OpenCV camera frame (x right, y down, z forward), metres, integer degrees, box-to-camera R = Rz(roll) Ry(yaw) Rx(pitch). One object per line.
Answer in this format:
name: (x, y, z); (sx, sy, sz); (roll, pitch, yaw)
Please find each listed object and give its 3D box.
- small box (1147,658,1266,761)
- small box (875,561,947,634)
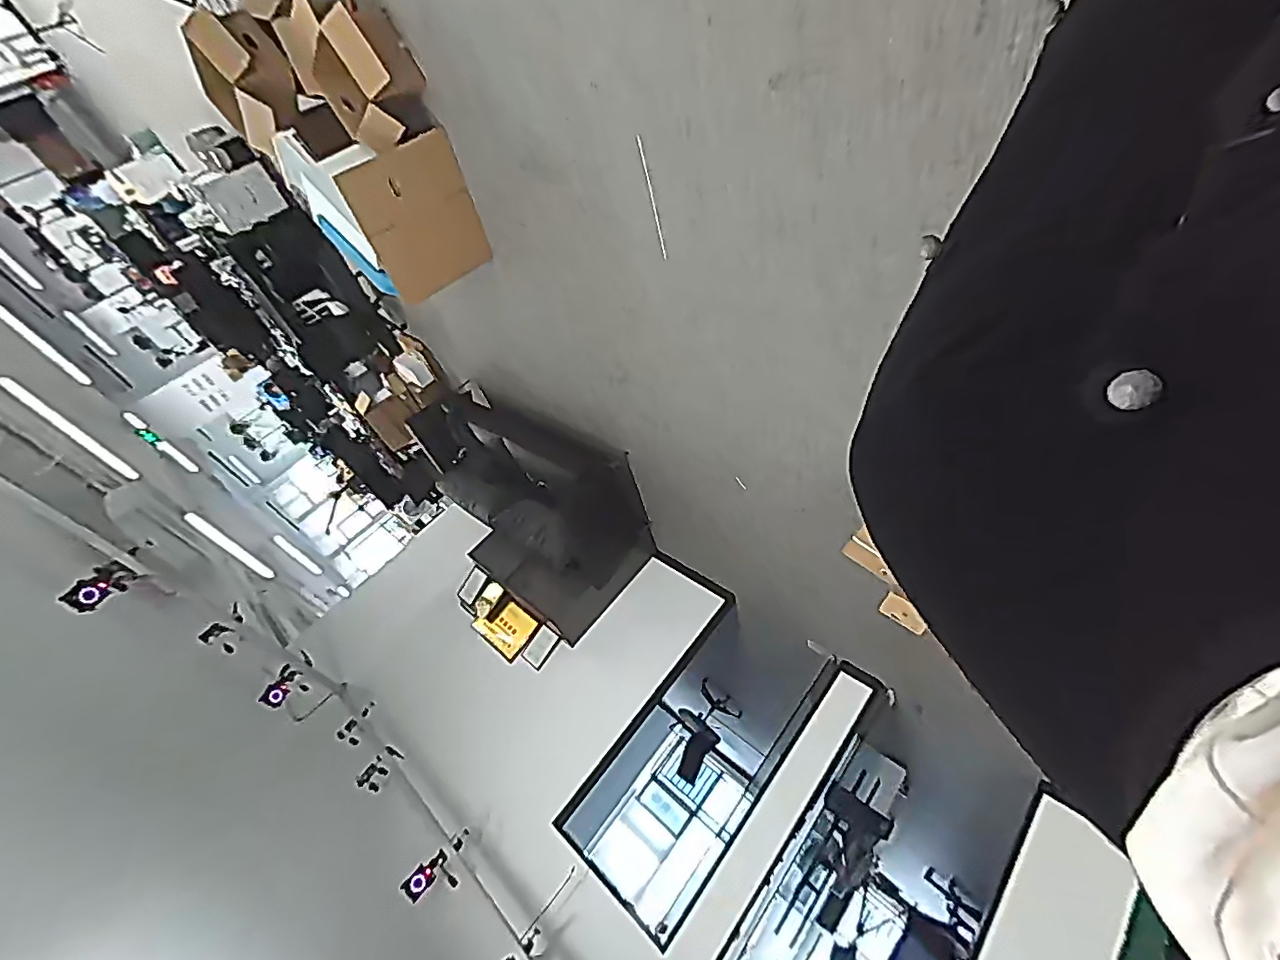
small box: (1.540, 0.613, 1.470); (0.168, 0.176, 0.179); (53, 155, -16)
small box: (1.019, 0.436, 2.026); (0.168, 0.176, 0.179); (33, 152, 26)
